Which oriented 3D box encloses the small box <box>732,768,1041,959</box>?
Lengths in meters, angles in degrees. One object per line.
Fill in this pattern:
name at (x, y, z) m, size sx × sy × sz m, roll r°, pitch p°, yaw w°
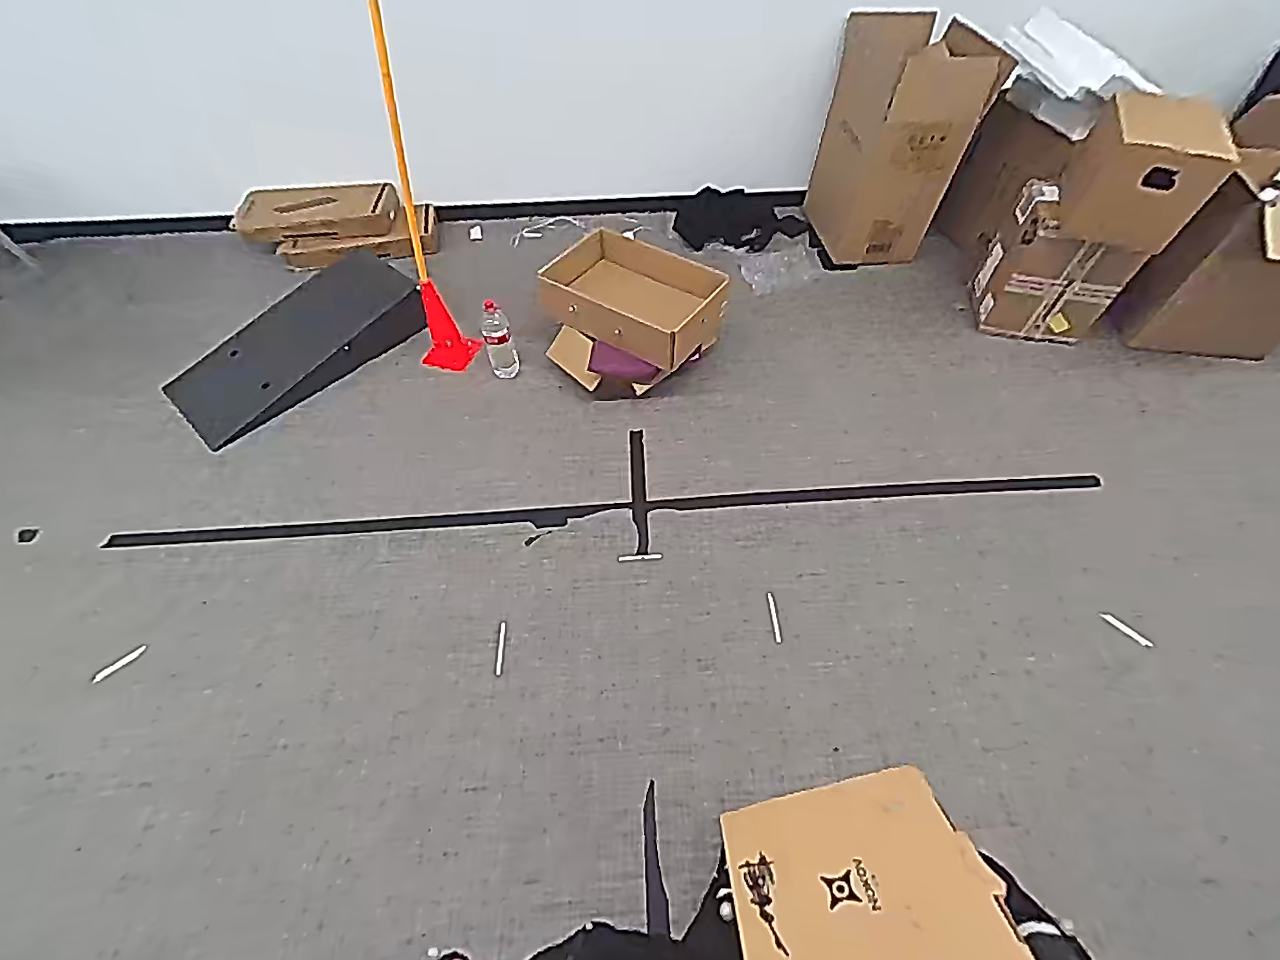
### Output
small box at (0.186, 0.370, 0.422) m, size 0.179 × 0.176 × 0.168 m, roll -17°, pitch 17°, yaw 5°
